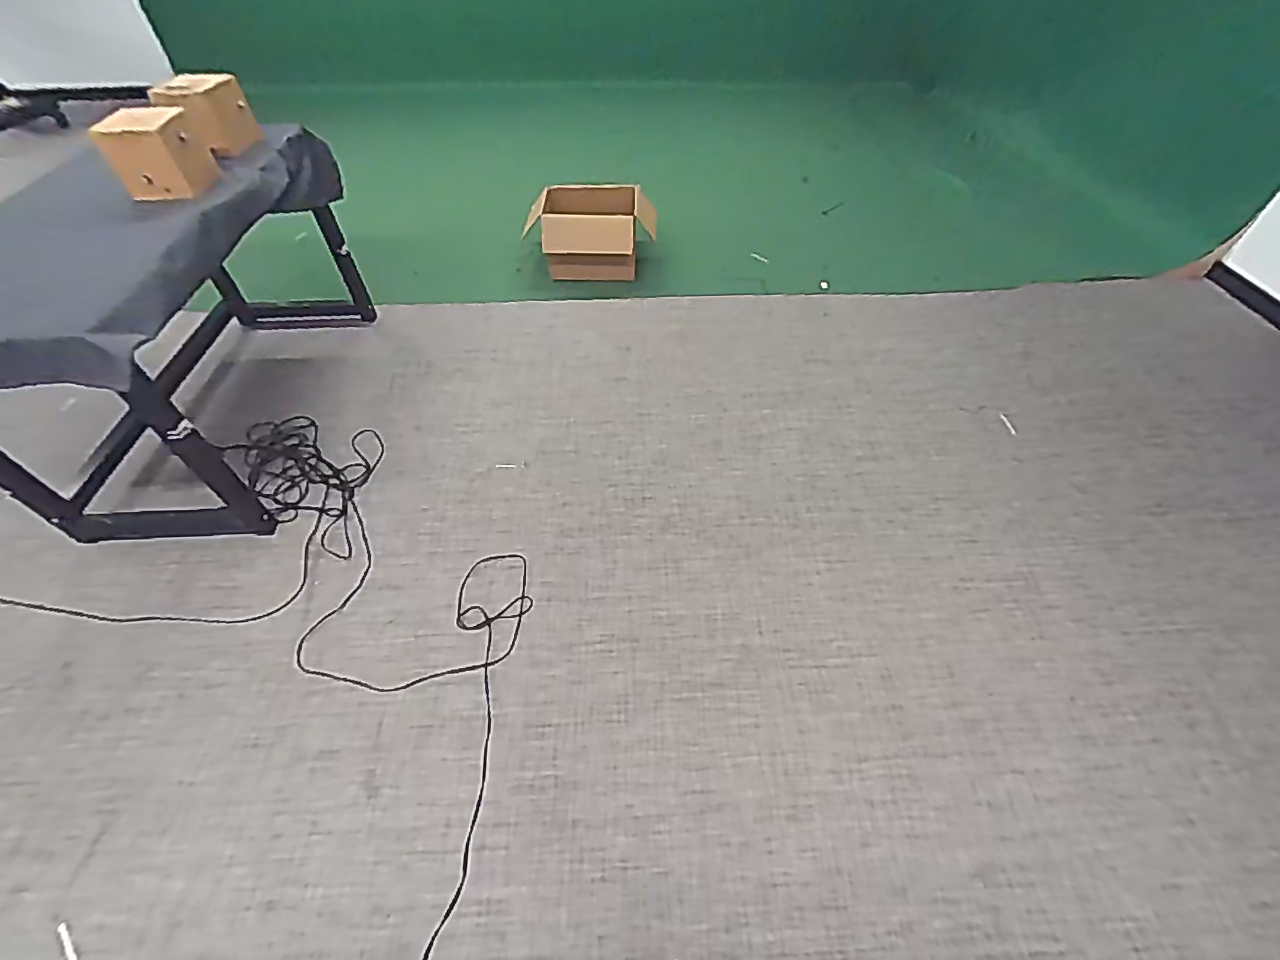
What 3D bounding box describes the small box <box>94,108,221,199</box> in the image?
[{"bbox_3d":[-1.285,-0.881,1.460,0.168,0.176,0.179,-4,51,-3],"label":"small box"}]
